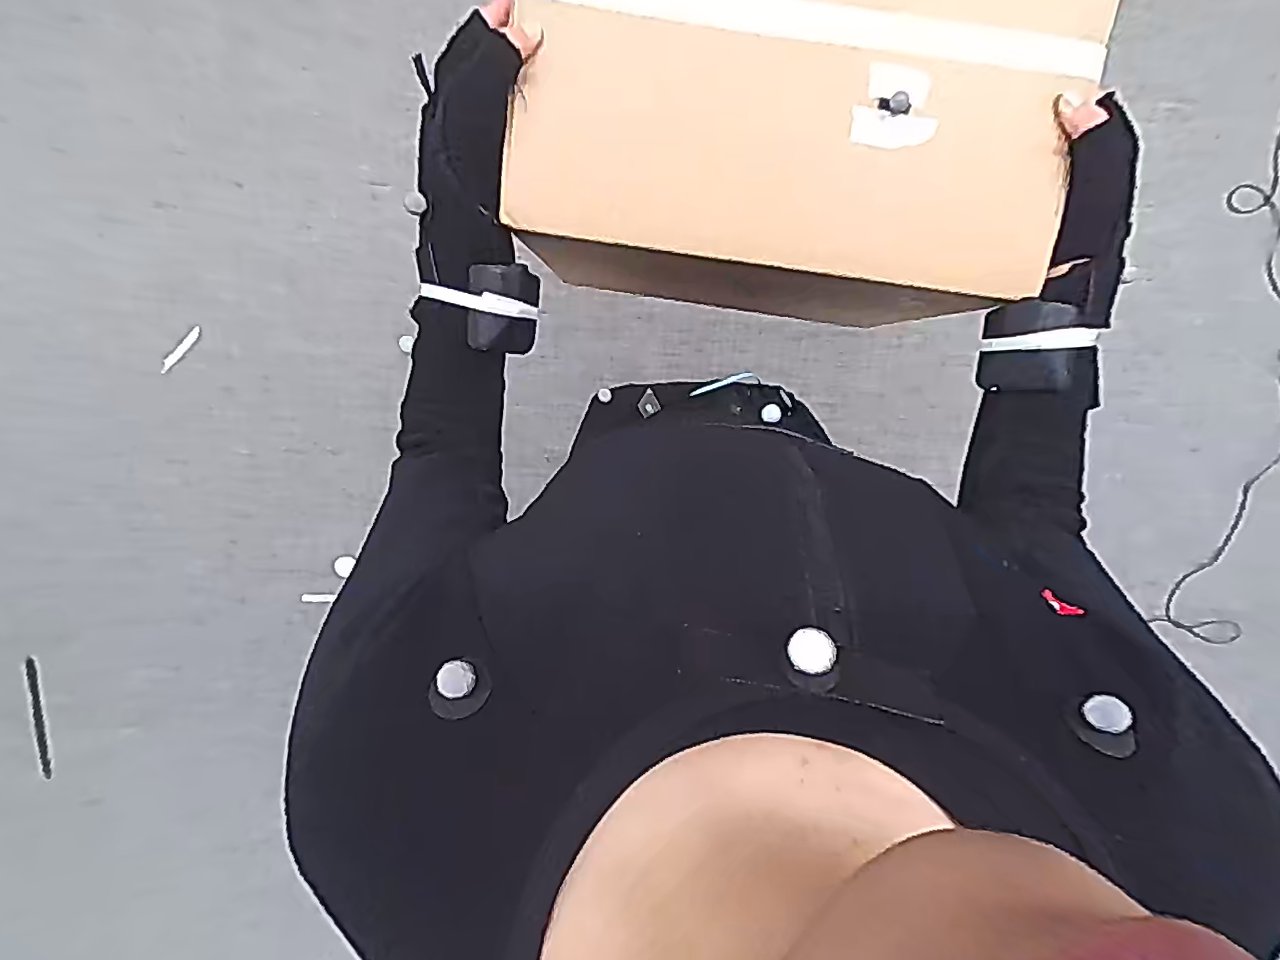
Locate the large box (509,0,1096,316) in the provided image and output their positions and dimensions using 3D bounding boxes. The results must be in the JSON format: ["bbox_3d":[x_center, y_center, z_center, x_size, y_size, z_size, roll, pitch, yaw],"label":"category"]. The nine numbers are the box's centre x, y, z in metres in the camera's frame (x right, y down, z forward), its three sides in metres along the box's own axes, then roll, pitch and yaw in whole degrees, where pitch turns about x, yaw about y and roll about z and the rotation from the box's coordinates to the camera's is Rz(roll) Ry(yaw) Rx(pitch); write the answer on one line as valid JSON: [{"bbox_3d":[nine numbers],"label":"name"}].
[{"bbox_3d":[0.112,-0.352,0.525,0.408,0.320,0.320,8,103,-2],"label":"large box"}]
